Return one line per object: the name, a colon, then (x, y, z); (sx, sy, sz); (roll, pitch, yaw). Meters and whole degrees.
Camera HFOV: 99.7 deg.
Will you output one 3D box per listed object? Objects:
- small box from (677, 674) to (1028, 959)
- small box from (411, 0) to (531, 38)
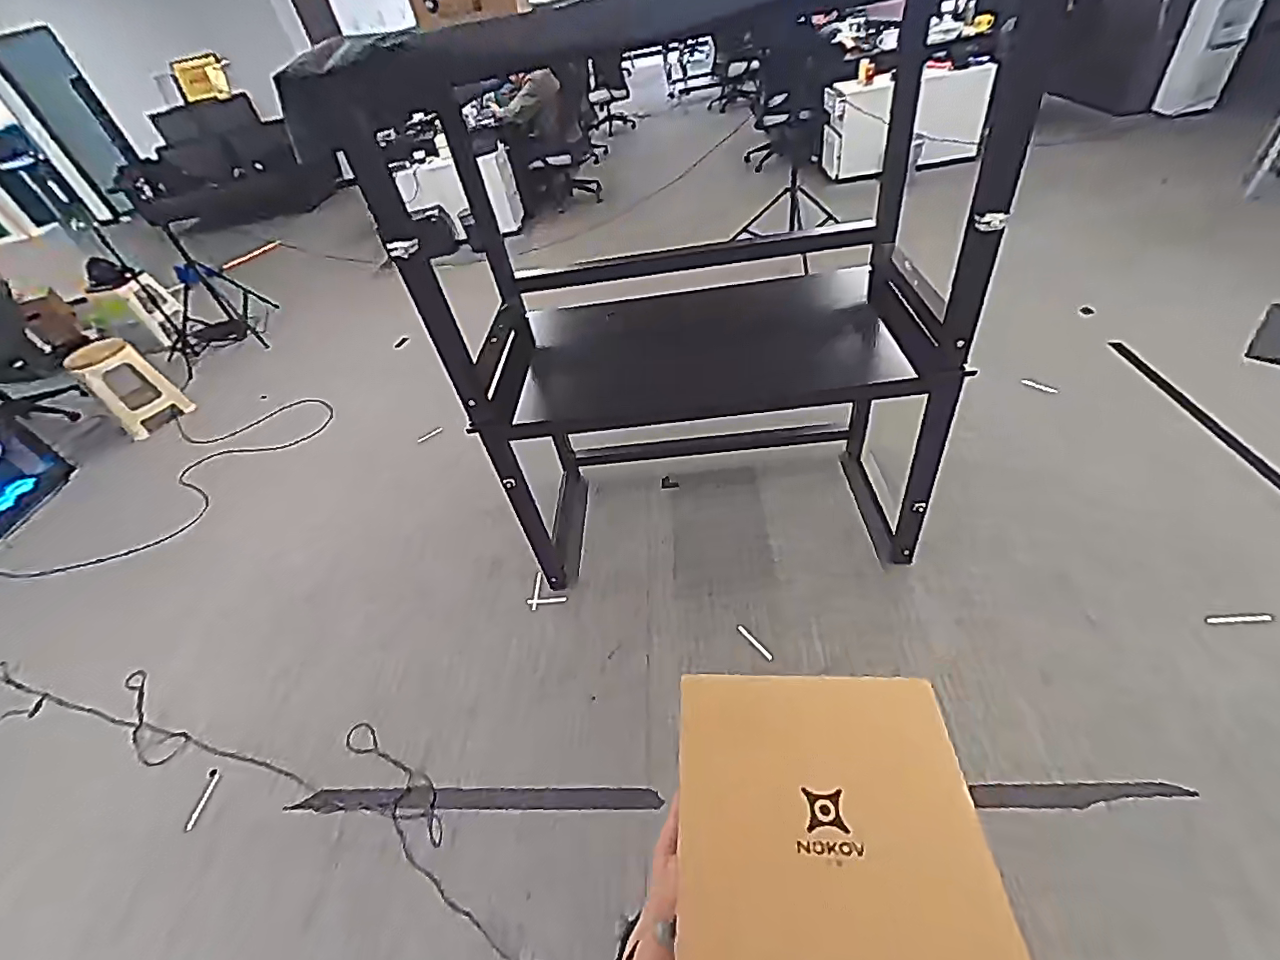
small box: (0.109, 0.251, 0.352); (0.168, 0.176, 0.179); (-1, 40, 6)
small box: (-0.282, -0.826, 0.863); (0.168, 0.176, 0.179); (-7, 41, 4)
